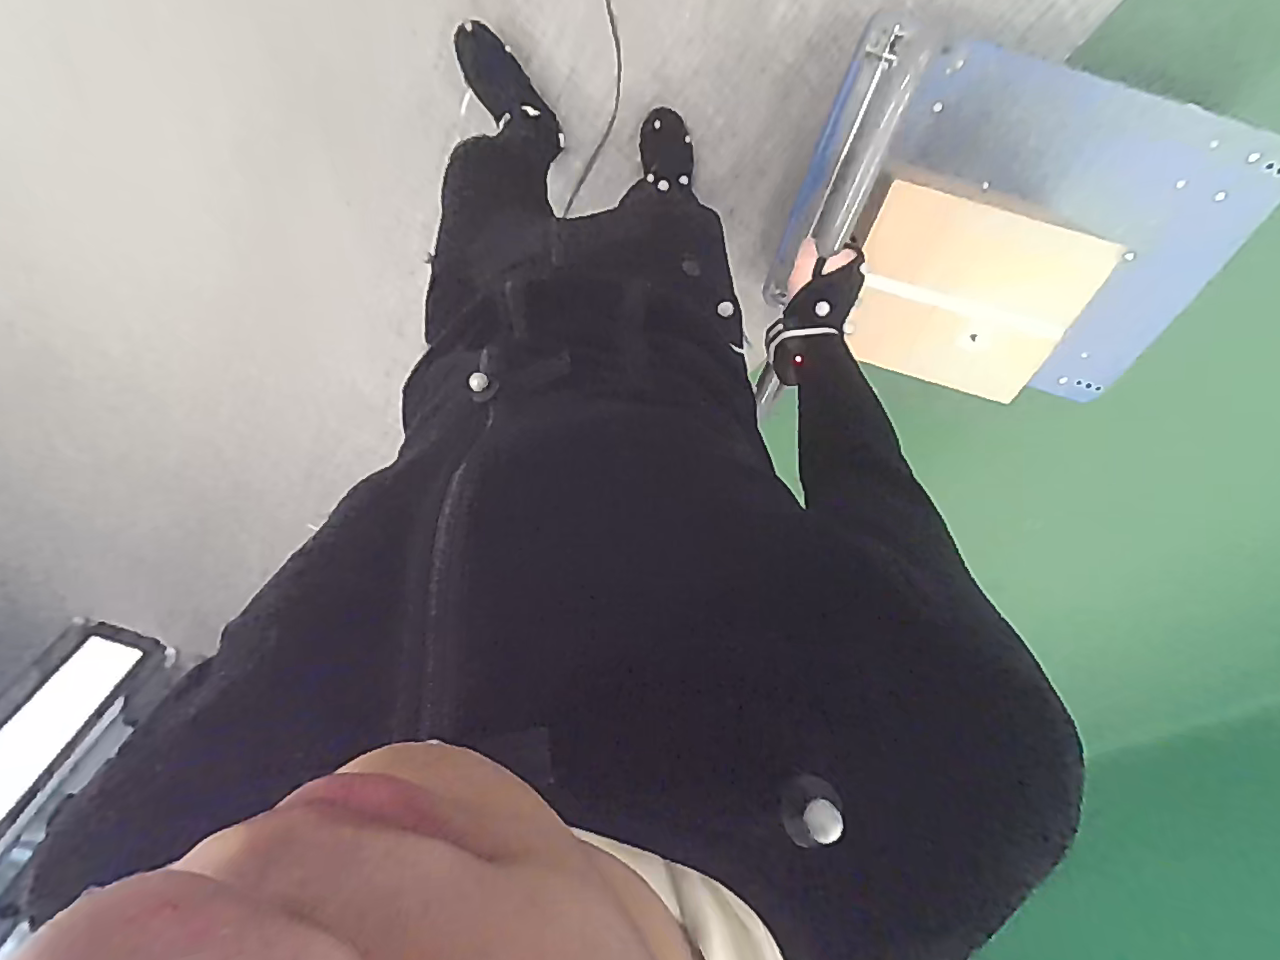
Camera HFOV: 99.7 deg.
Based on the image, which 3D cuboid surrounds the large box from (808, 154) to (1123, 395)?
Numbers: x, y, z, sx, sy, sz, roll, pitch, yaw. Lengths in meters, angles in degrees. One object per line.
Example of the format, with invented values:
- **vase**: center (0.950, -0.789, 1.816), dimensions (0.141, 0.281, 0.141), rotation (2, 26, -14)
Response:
- **large box**: center (0.600, -0.425, 1.099), dimensions (0.408, 0.320, 0.320), rotation (17, 130, -1)
